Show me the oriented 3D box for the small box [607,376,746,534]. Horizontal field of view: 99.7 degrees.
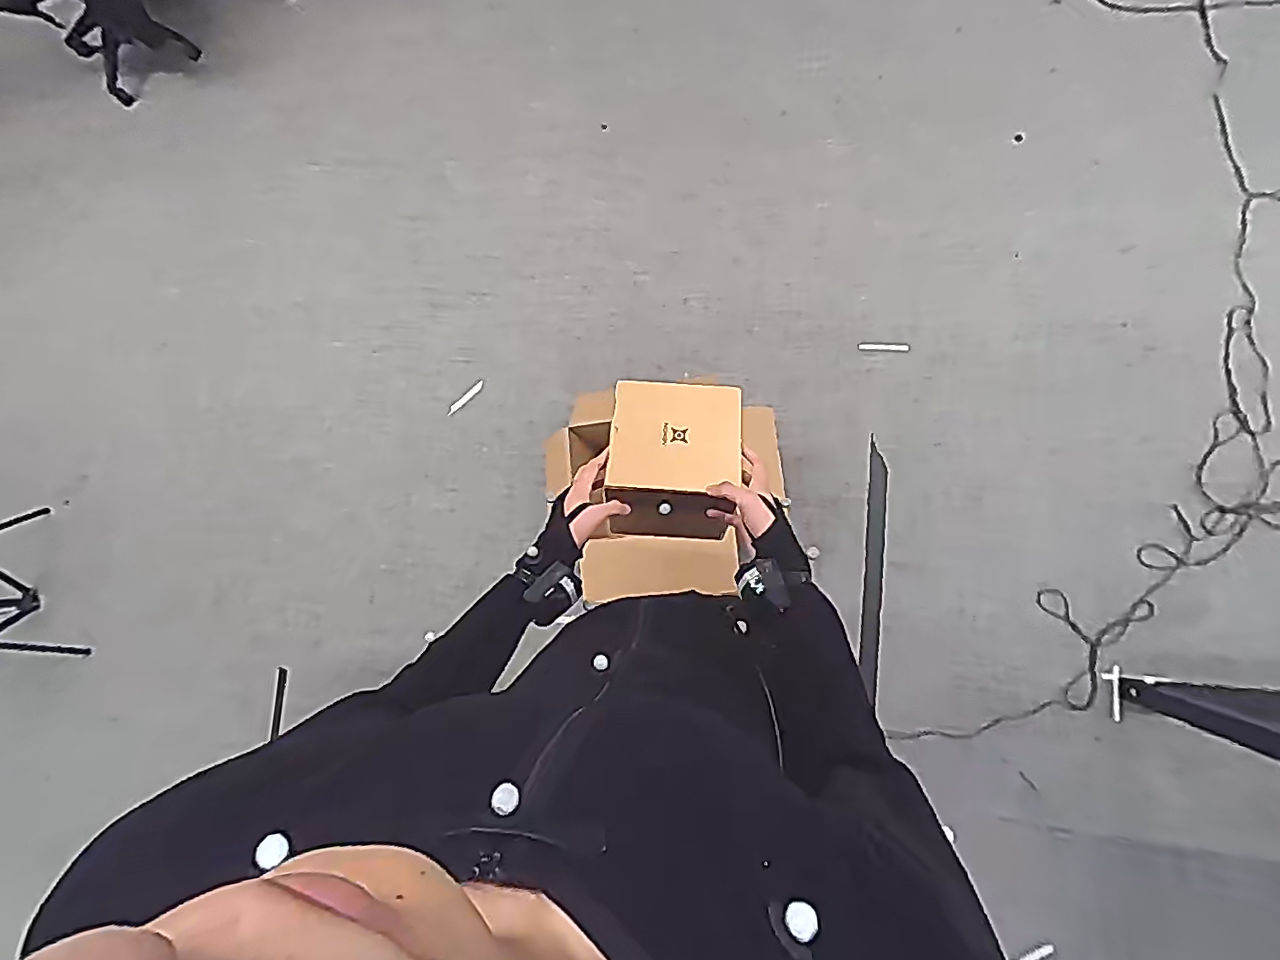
[{"bbox_3d":[0.051,-0.028,0.776,0.179,0.176,0.168,3,64,3],"label":"small box"}]
